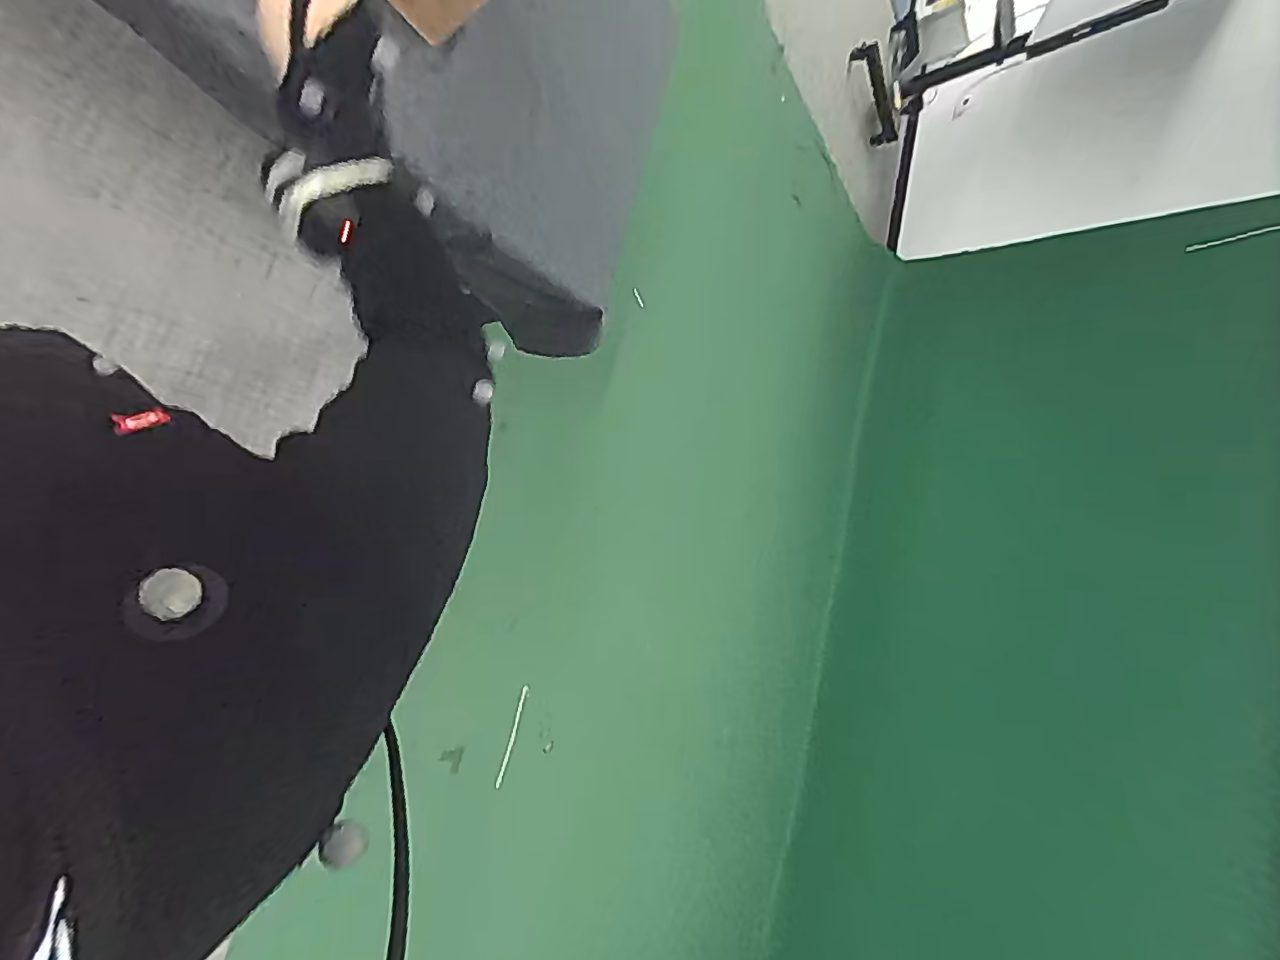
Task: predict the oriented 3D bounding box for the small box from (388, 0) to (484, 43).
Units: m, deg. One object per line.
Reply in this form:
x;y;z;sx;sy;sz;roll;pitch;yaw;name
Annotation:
-0.227;-0.641;0.590;0.168;0.176;0.179;30;69;-48;small box
